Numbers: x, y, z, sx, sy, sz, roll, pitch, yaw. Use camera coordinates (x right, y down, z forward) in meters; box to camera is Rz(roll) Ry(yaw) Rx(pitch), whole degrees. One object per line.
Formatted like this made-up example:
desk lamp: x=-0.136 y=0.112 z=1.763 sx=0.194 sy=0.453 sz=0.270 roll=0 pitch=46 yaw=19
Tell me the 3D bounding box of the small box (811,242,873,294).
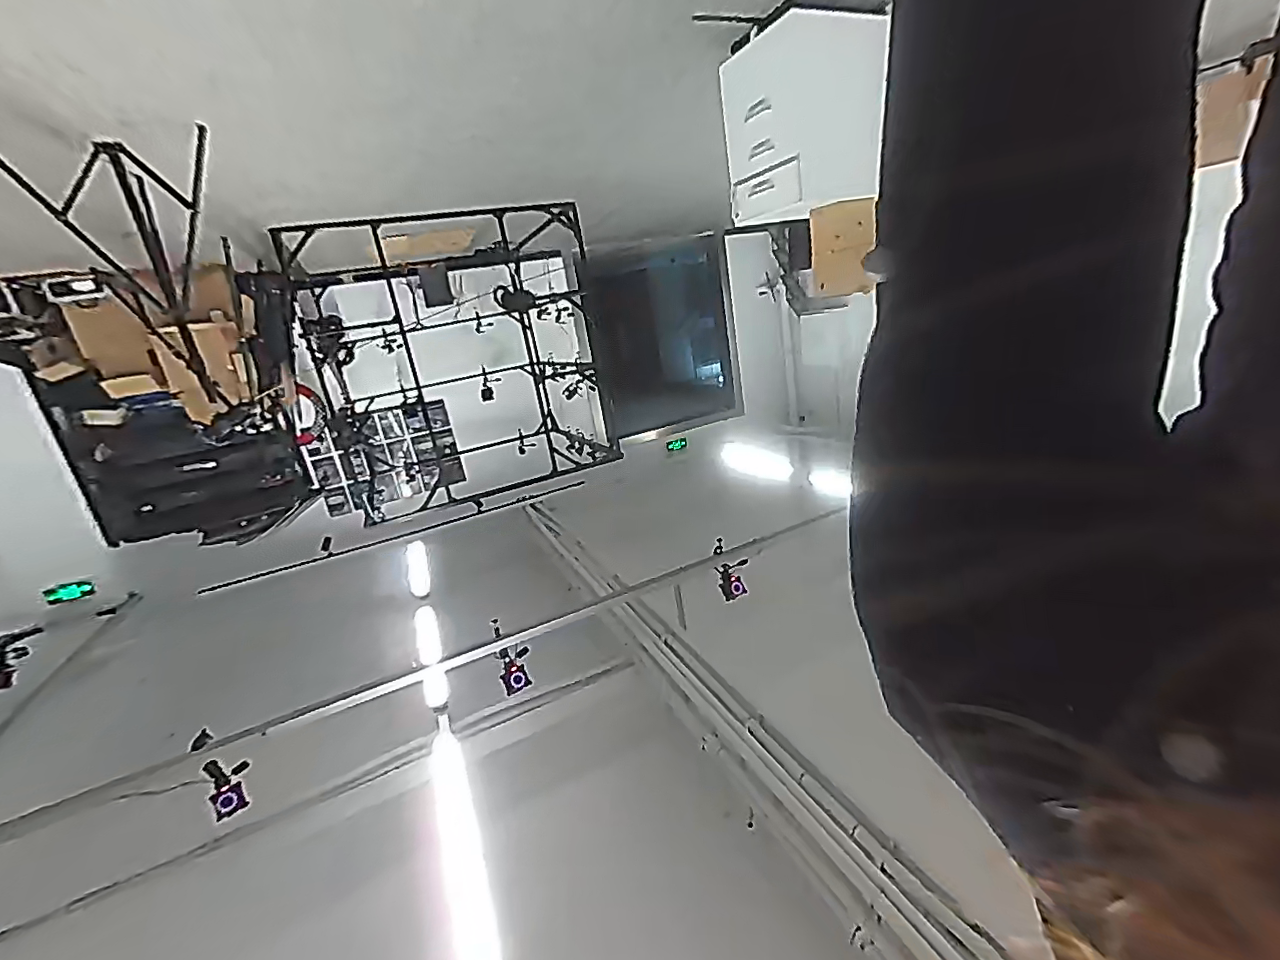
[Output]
small box: x=0.800 y=-0.841 z=2.143 sx=0.168 sy=0.176 sz=0.179 roll=-20 pitch=-159 yaw=-25
